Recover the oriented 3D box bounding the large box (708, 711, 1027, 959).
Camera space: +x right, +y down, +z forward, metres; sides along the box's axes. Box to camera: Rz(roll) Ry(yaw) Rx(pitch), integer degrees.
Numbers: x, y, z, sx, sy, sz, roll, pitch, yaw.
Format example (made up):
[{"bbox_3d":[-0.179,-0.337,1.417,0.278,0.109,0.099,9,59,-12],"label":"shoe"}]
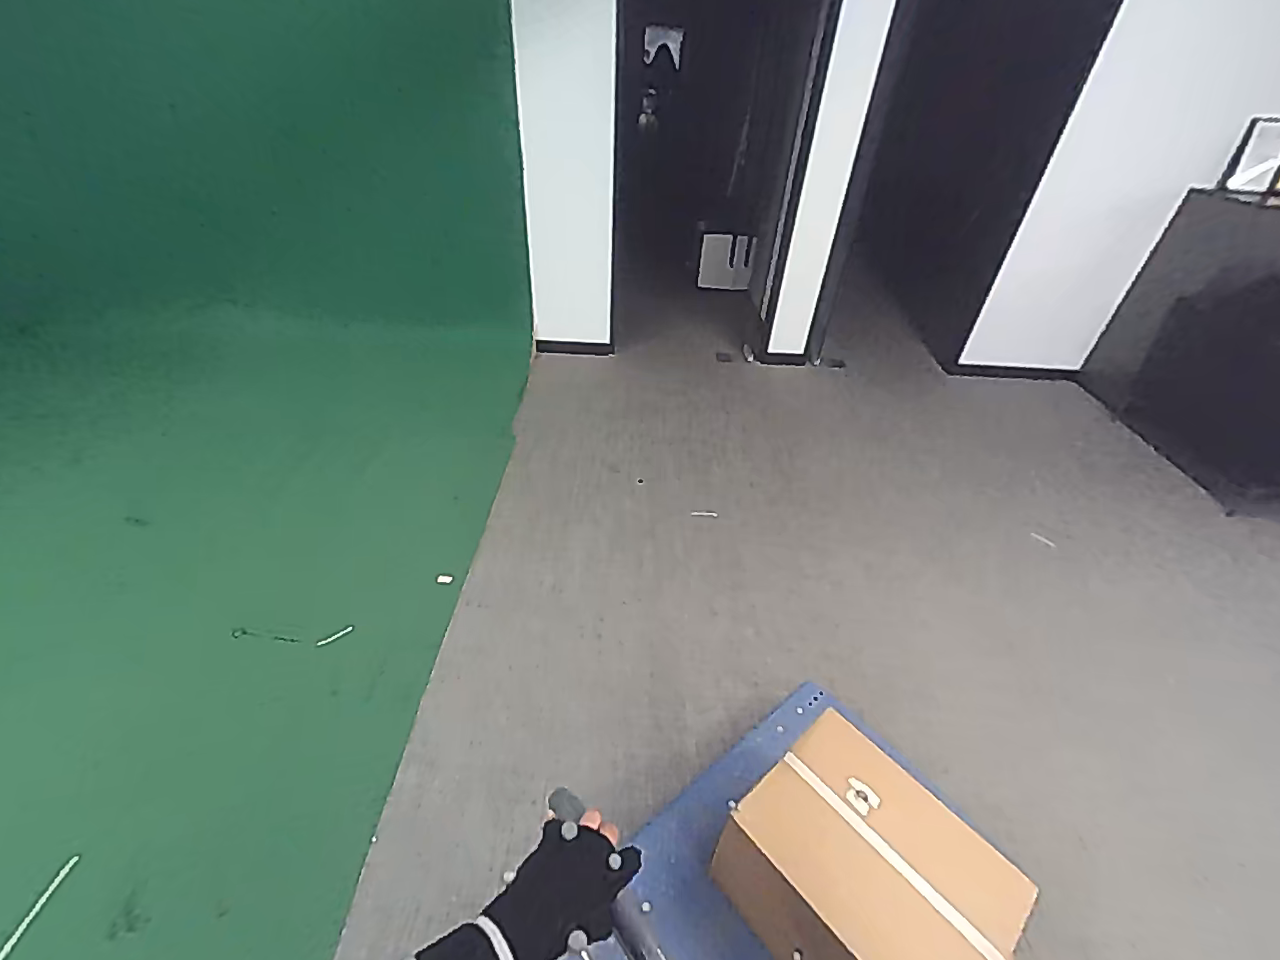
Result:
[{"bbox_3d":[0.385,0.740,1.003,0.320,0.320,0.408,-26,46,-32],"label":"large box"}]
